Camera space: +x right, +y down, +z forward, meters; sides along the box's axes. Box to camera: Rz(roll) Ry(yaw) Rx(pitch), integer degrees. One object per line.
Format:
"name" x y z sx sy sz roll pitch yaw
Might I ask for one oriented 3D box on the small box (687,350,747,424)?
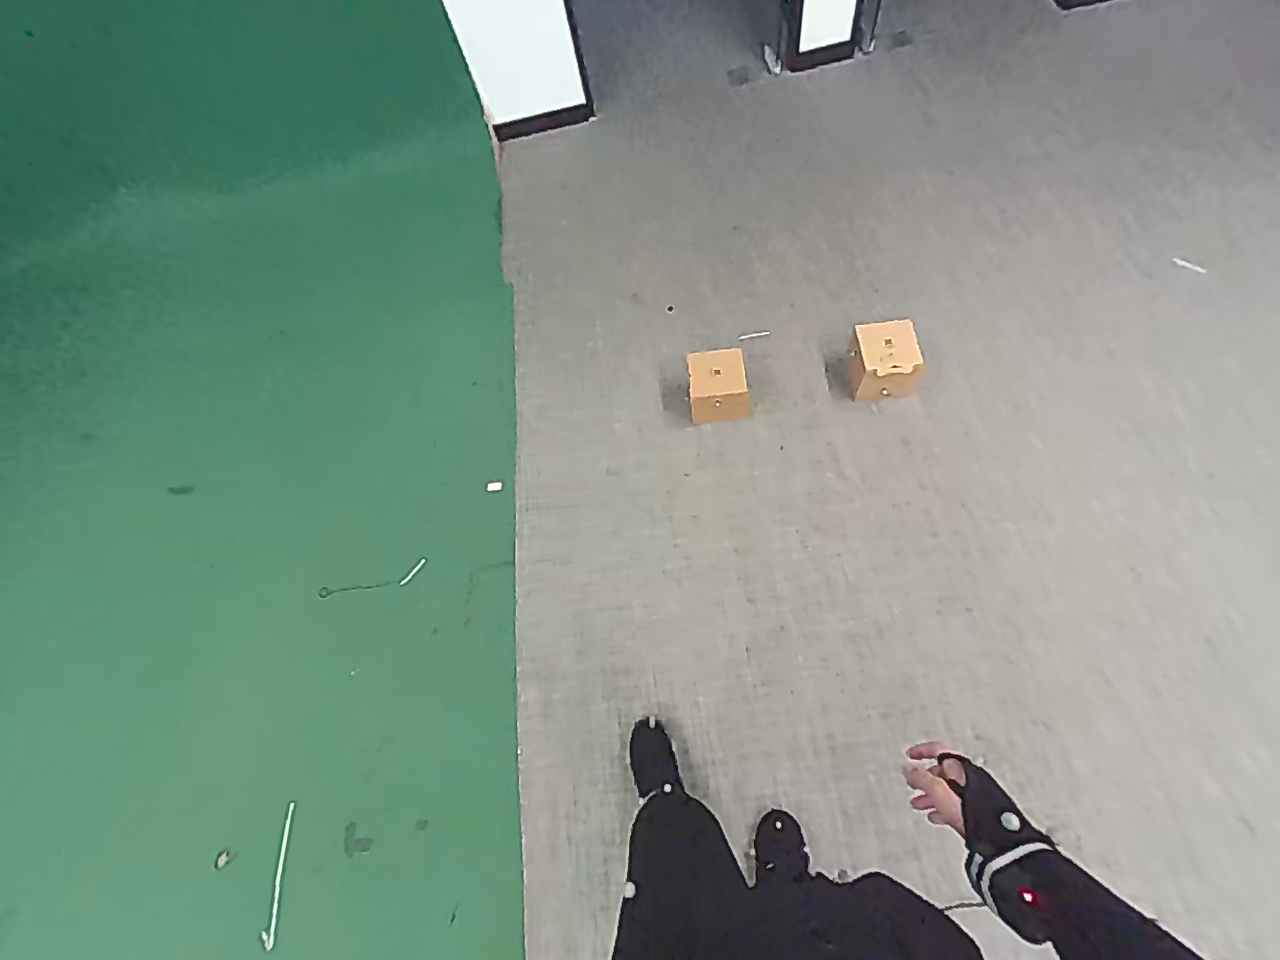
"small box" 0.250 -0.292 1.741 0.179 0.176 0.168 -5 66 7

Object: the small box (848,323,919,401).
"small box" 0.753 -0.366 1.687 0.168 0.176 0.179 0 67 12
